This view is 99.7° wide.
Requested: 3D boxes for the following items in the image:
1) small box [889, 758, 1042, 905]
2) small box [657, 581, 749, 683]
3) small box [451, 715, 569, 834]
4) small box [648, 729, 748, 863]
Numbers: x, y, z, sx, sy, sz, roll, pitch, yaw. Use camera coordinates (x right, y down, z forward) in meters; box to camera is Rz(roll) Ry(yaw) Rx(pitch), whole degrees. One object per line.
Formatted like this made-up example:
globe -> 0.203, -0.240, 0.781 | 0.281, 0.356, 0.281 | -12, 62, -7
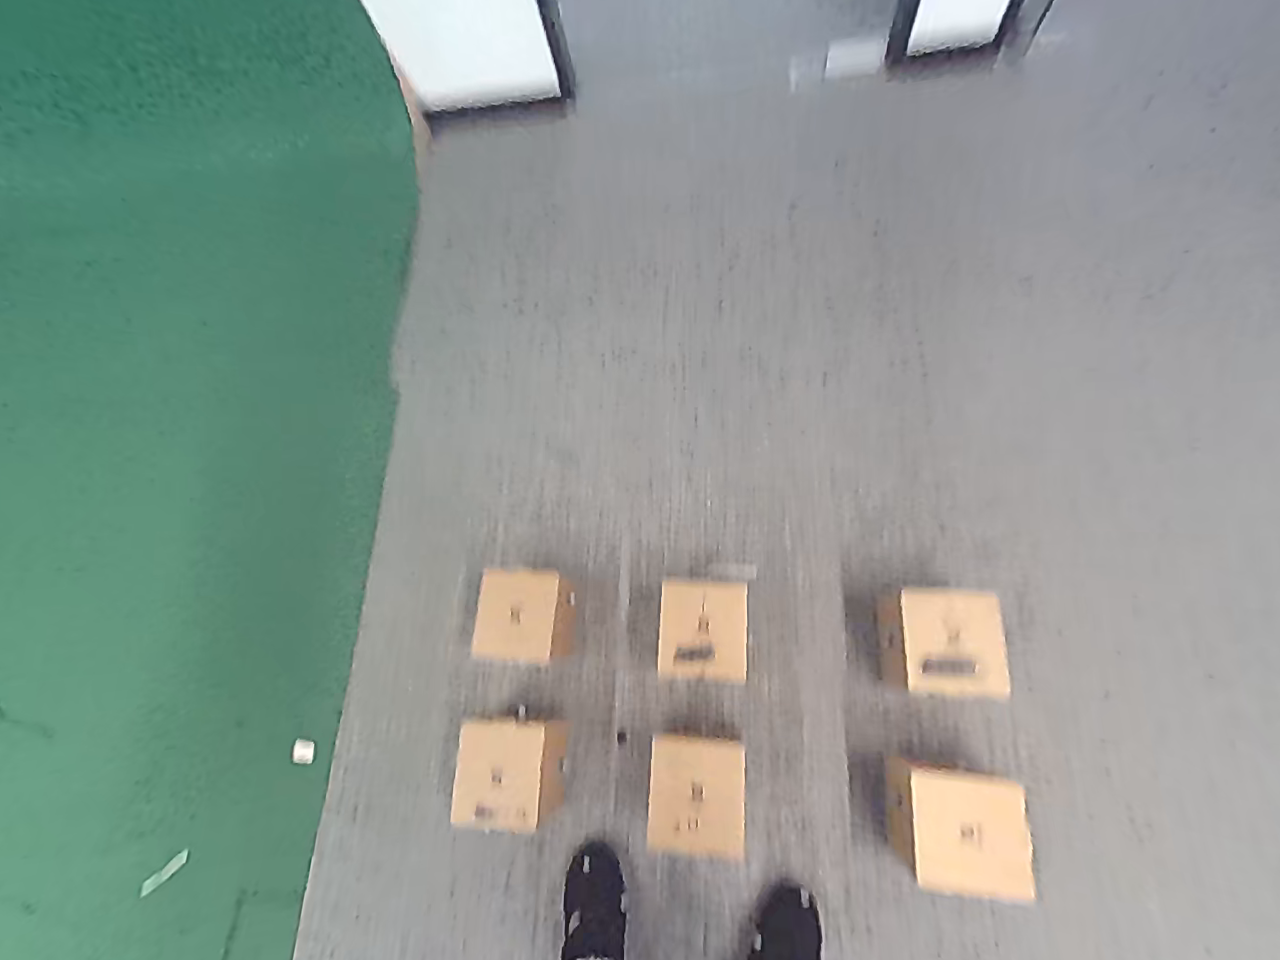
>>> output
small box -> 0.540, 0.586, 0.927 | 0.179, 0.176, 0.168 | 2, 73, 9
small box -> 0.131, 0.304, 1.081 | 0.168, 0.176, 0.179 | 1, 72, 9
small box -> -0.242, 0.562, 1.056 | 0.168, 0.176, 0.179 | 0, 71, 9
small box -> 0.111, 0.568, 0.998 | 0.168, 0.176, 0.179 | 1, 72, 10
